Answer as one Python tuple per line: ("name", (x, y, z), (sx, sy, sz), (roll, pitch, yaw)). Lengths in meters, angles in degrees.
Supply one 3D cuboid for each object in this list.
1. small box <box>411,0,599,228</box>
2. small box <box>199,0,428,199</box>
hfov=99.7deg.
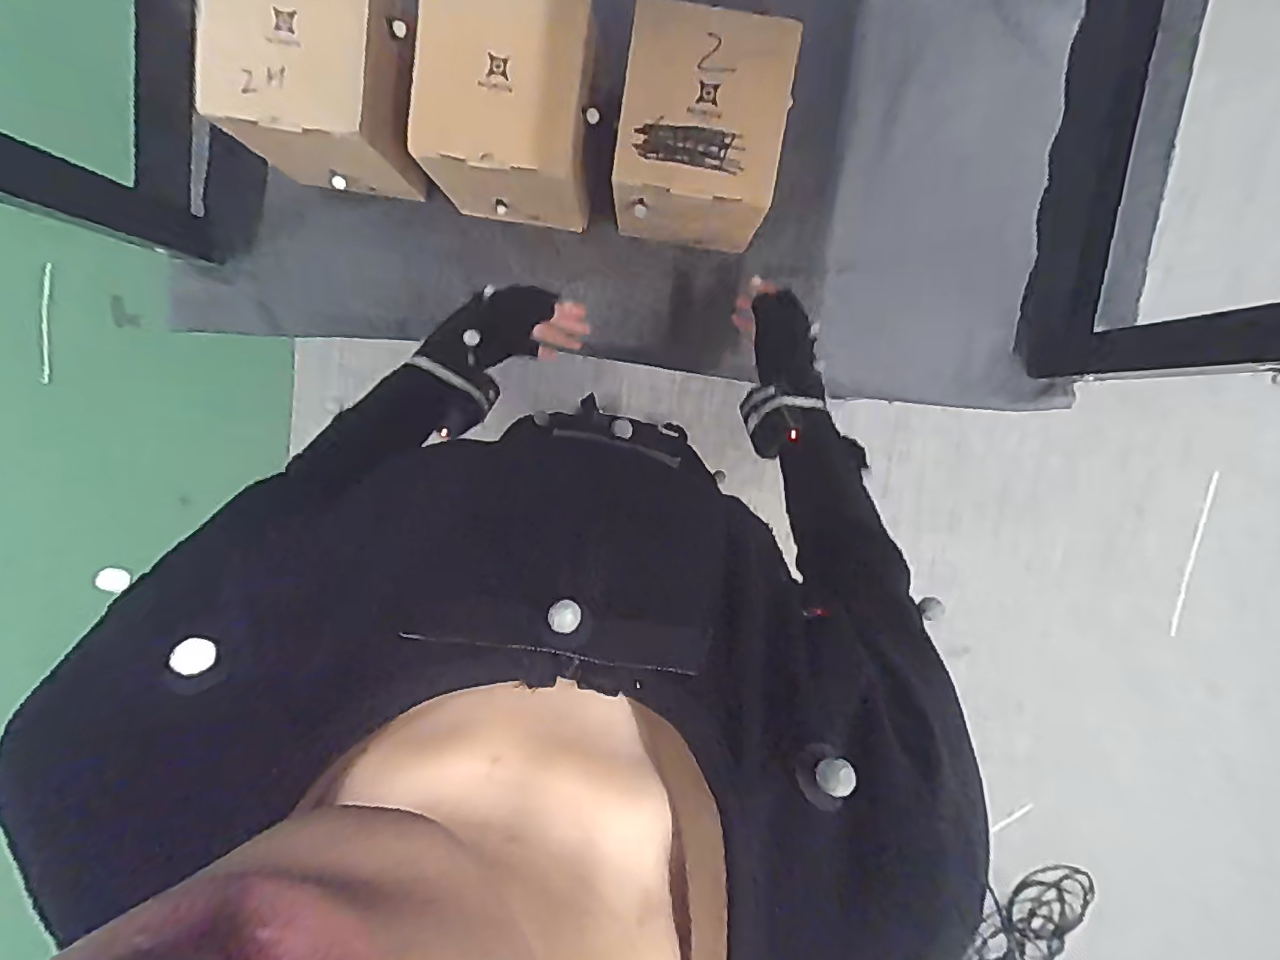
("small box", (-0.140, -0.415, 0.616), (0.168, 0.176, 0.179), (8, 98, -2))
("small box", (-0.344, -0.449, 0.608), (0.168, 0.176, 0.179), (8, 97, -1))
